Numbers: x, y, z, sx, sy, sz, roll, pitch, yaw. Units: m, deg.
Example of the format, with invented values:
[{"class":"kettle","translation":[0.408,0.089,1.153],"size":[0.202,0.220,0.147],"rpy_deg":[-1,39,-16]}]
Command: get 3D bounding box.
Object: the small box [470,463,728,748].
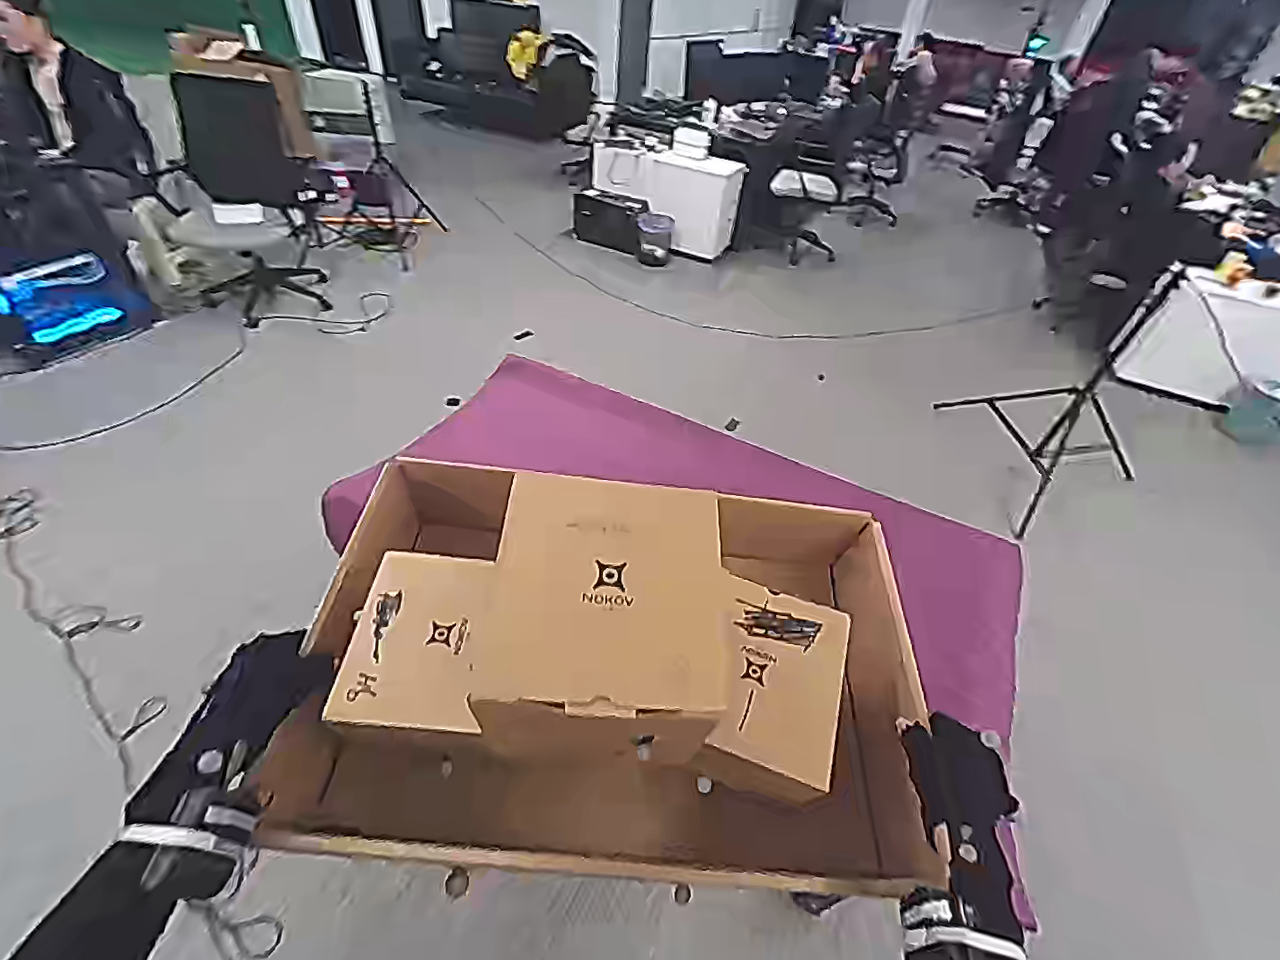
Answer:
[{"class":"small box","translation":[-0.029,0.111,0.448],"size":[0.168,0.176,0.179],"rpy_deg":[6,52,-5]}]
